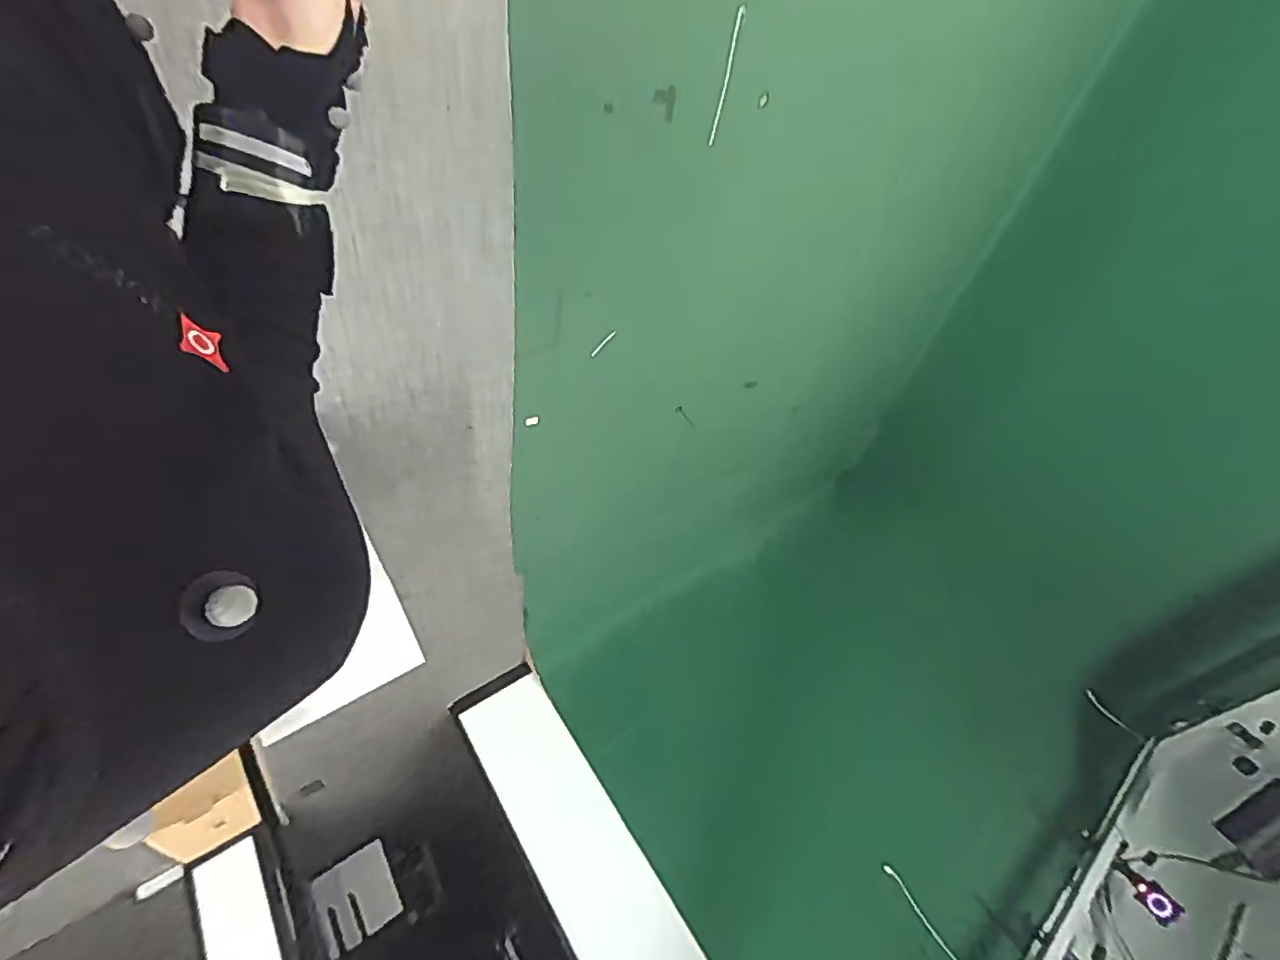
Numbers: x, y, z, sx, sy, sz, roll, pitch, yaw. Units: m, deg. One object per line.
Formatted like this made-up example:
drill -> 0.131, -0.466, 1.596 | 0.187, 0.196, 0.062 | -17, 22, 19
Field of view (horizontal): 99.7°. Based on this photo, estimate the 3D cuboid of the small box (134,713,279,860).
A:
small box -> -0.844, 0.590, 1.057 | 0.168, 0.176, 0.179 | -22, 145, -31
